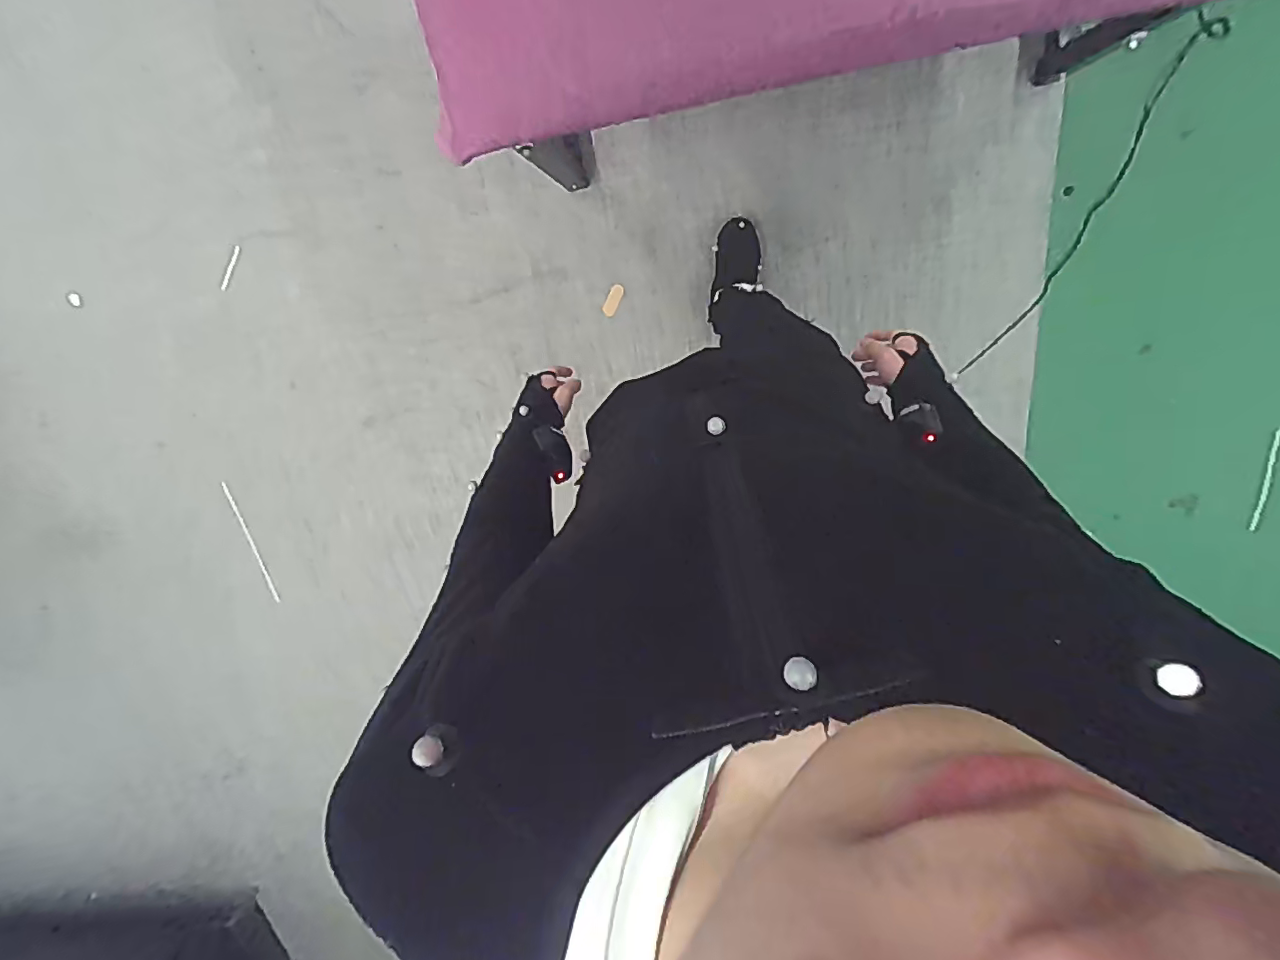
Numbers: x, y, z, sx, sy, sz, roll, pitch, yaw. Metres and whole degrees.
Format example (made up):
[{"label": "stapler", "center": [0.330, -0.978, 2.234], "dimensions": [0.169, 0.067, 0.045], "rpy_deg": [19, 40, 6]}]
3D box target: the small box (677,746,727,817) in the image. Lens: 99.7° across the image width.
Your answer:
[{"label": "small box", "center": [0.230, 1.114, 2.009], "dimensions": [0.179, 0.176, 0.168], "rpy_deg": [-1, 111, 5]}]
